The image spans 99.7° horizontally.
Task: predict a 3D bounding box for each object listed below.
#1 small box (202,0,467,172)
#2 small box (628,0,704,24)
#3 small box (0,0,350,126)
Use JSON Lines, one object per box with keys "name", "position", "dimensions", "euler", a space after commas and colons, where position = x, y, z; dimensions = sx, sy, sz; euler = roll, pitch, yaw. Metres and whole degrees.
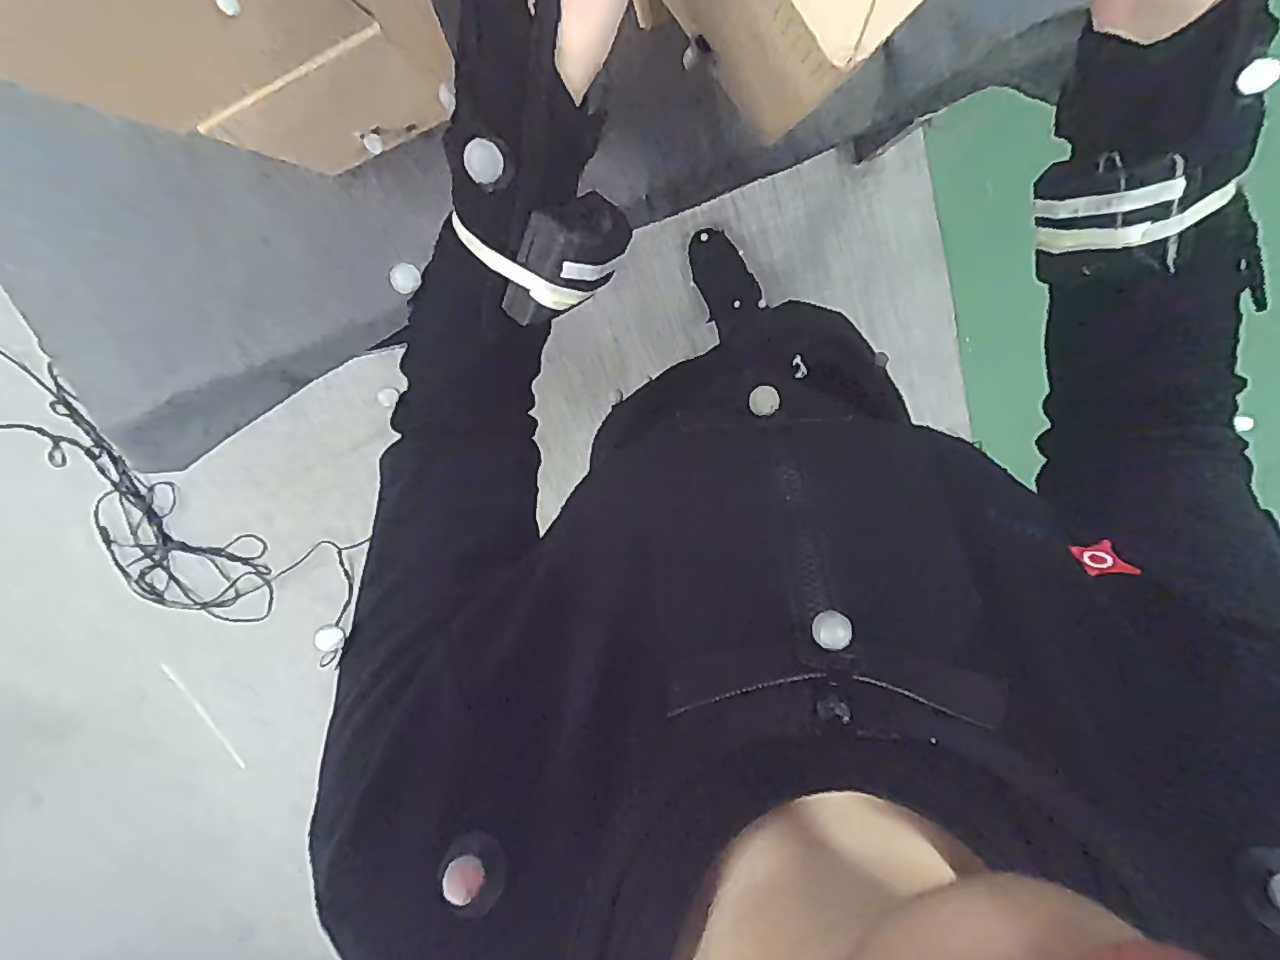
{"name": "small box", "position": [-0.273, -0.387, 0.441], "dimensions": [0.168, 0.176, 0.179], "euler": [-18, 107, 11]}
{"name": "small box", "position": [0.046, -0.479, 0.381], "dimensions": [0.179, 0.176, 0.168], "euler": [-17, 106, 10]}
{"name": "small box", "position": [-0.293, -0.331, 0.289], "dimensions": [0.179, 0.176, 0.168], "euler": [-19, 105, 13]}
